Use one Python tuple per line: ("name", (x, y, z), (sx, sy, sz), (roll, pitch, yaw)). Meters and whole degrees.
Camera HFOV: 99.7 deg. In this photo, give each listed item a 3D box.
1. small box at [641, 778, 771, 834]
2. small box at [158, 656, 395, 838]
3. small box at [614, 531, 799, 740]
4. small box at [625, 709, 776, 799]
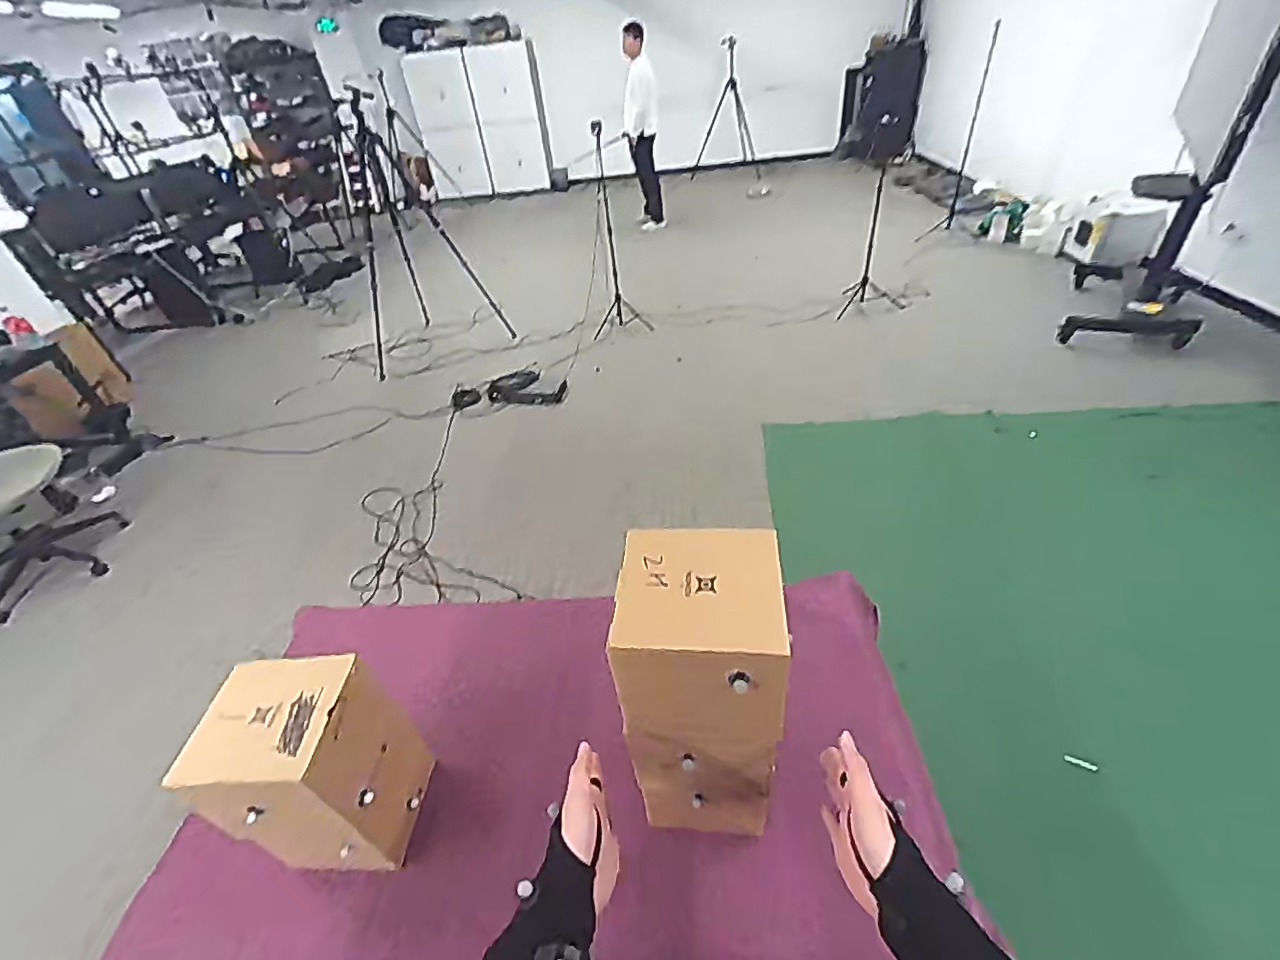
("small box", (0.103, 0.423, 0.833), (0.179, 0.176, 0.168), (-1, 39, 9))
("small box", (-0.459, 0.357, 0.723), (0.179, 0.176, 0.168), (-4, 38, 3))
("small box", (0.077, 0.176, 0.616), (0.179, 0.176, 0.168), (-1, 38, 9))
("small box", (0.086, 0.303, 0.723), (0.179, 0.176, 0.168), (0, 40, 9))
